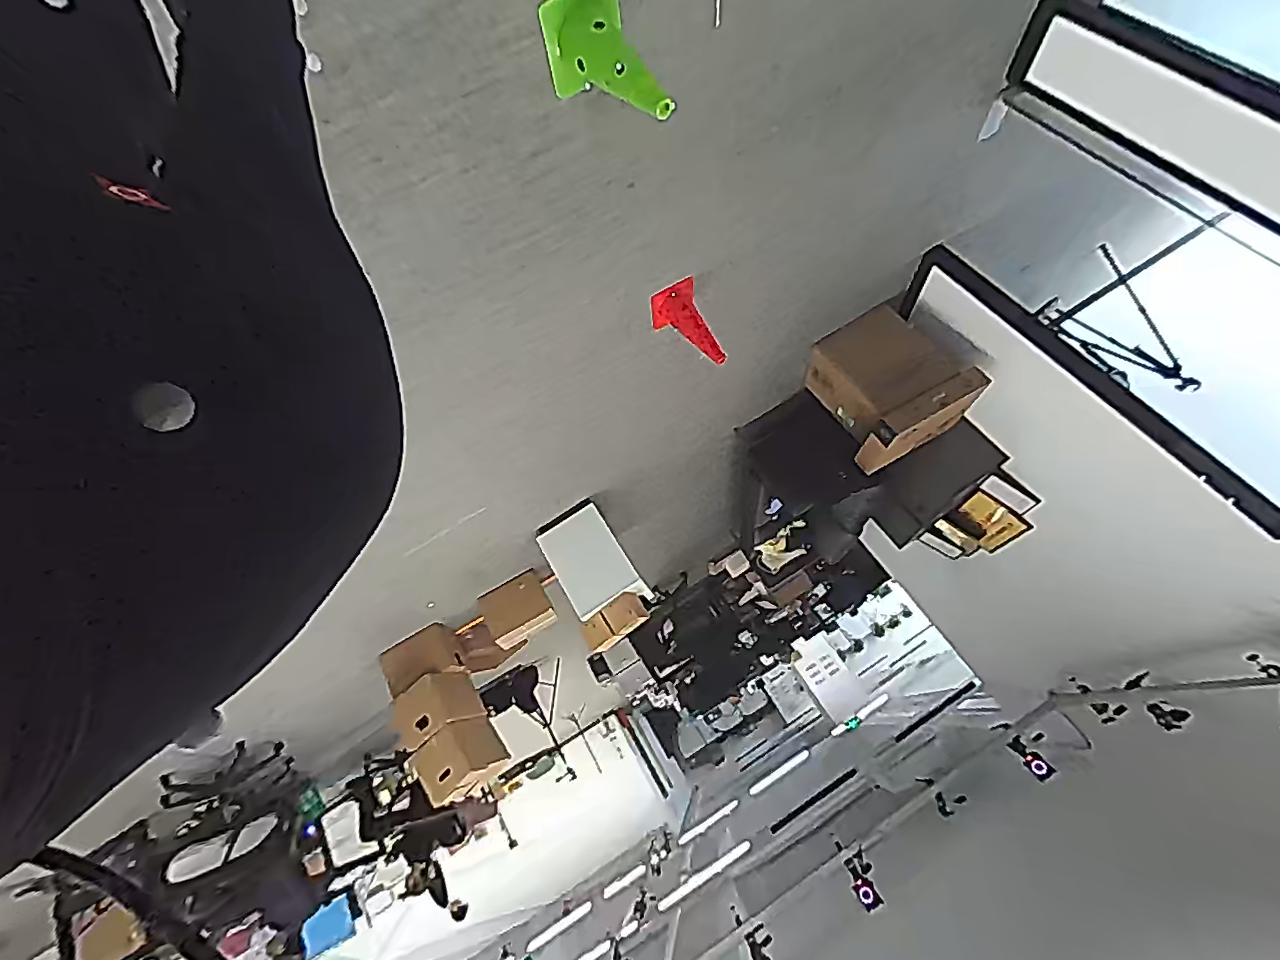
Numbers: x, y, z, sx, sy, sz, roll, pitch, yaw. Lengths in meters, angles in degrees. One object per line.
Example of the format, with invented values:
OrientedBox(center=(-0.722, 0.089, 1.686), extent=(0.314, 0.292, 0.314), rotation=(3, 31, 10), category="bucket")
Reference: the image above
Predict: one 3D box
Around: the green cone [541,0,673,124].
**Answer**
OrientedBox(center=(-0.042, -0.911, 1.207), extent=(0.200, 0.368, 0.202), rotation=(-31, 157, -7), category="green cone")
